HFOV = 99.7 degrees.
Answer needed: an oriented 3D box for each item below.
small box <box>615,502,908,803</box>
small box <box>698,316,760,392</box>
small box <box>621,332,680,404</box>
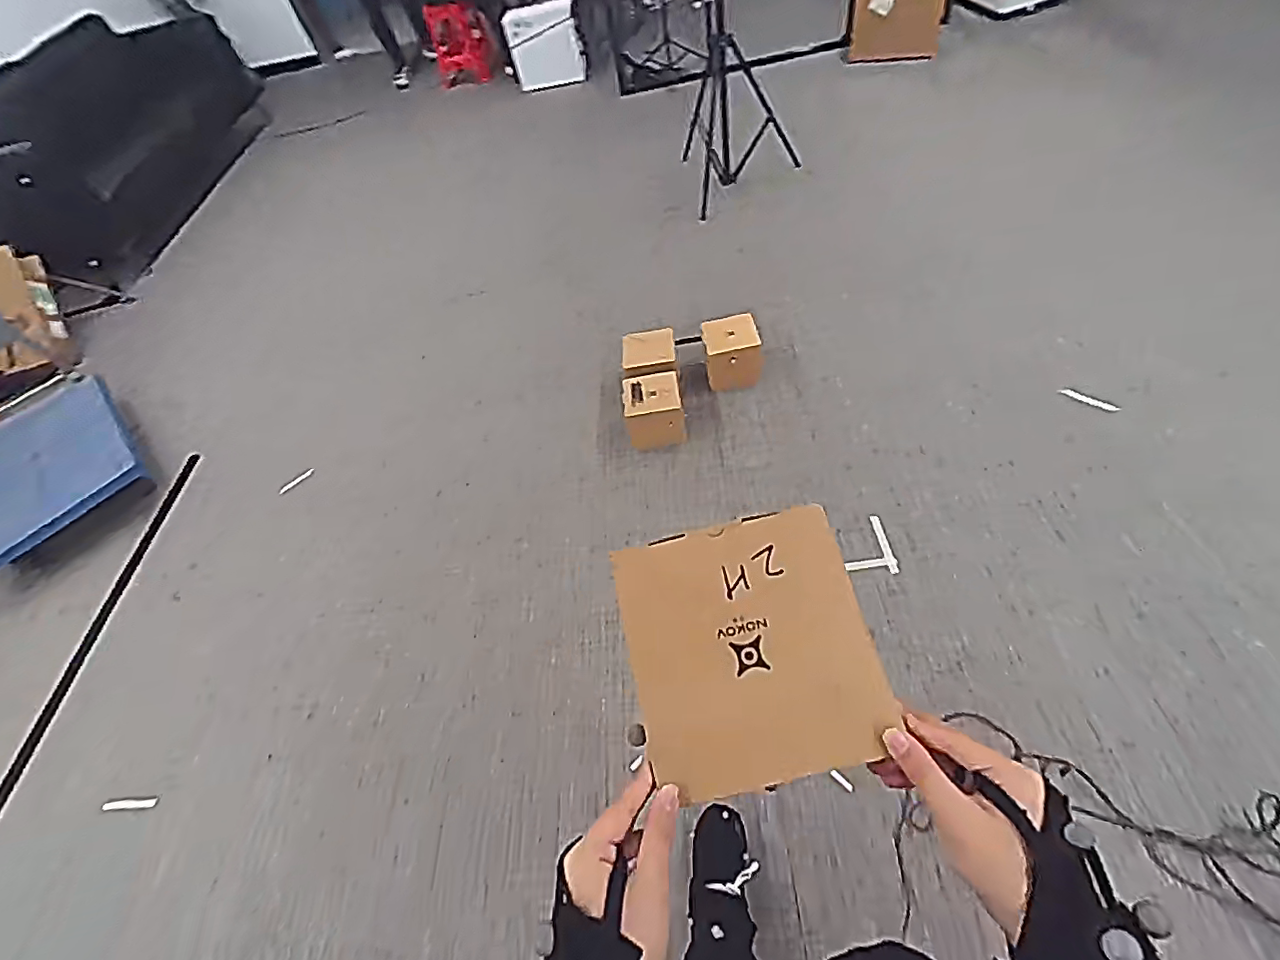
[{"bbox_3d":[0.086,0.141,0.449,0.168,0.176,0.179,-14,66,1],"label":"small box"},{"bbox_3d":[0.304,-0.427,1.851,0.179,0.176,0.168,-12,53,4],"label":"small box"},{"bbox_3d":[0.037,-0.390,1.875,0.179,0.176,0.168,-7,54,7],"label":"small box"}]
